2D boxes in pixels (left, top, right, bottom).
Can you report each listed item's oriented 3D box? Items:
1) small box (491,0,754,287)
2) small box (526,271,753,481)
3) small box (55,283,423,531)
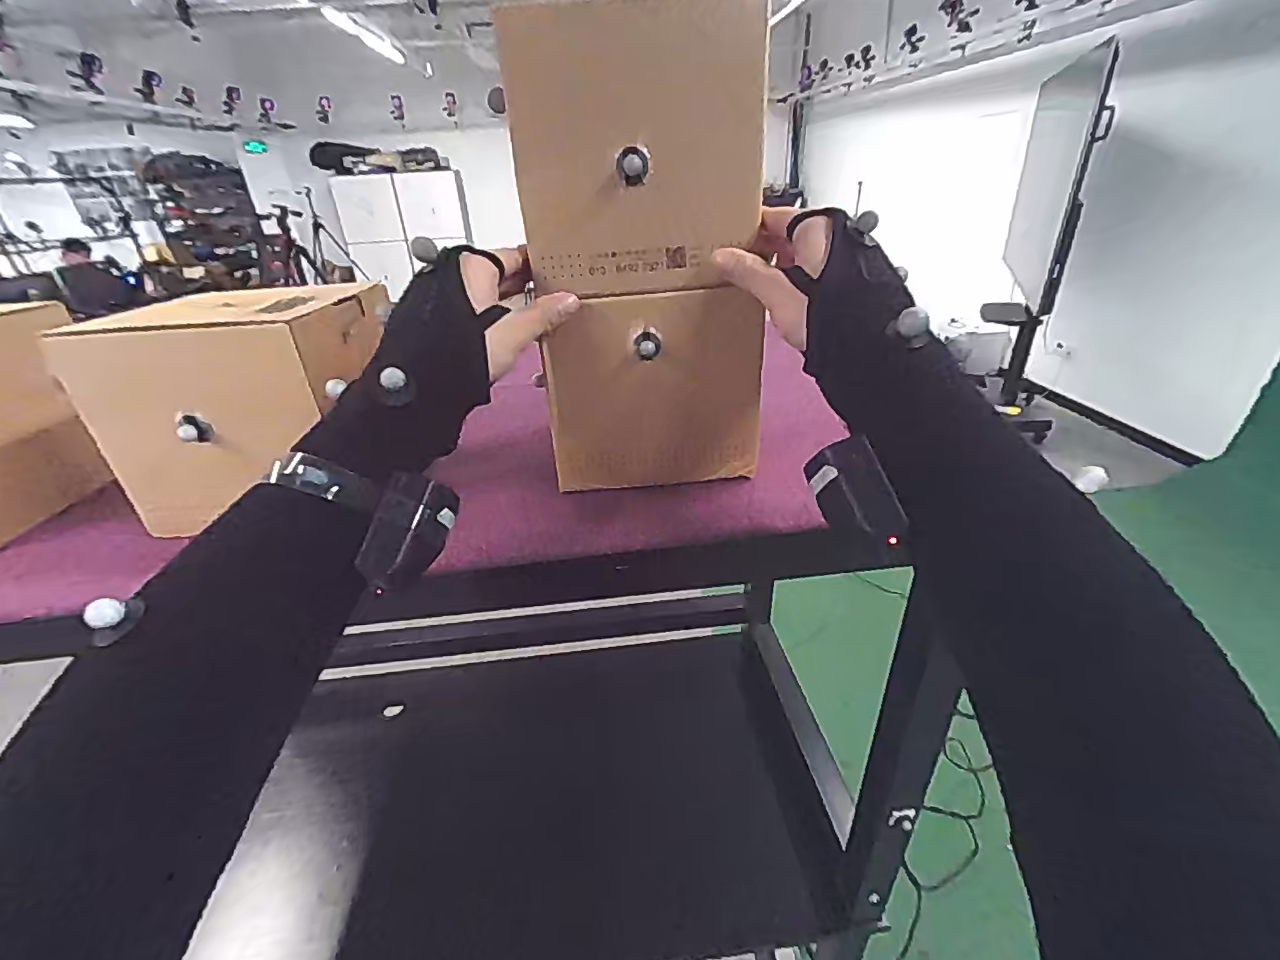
[{"bbox_3d":[-0.007,-0.253,0.437,0.168,0.176,0.179,-5,29,0],"label":"small box"},{"bbox_3d":[0.004,-0.108,0.510,0.179,0.176,0.168,-4,28,0],"label":"small box"},{"bbox_3d":[-0.316,-0.069,0.480,0.179,0.176,0.168,-4,28,0],"label":"small box"}]
